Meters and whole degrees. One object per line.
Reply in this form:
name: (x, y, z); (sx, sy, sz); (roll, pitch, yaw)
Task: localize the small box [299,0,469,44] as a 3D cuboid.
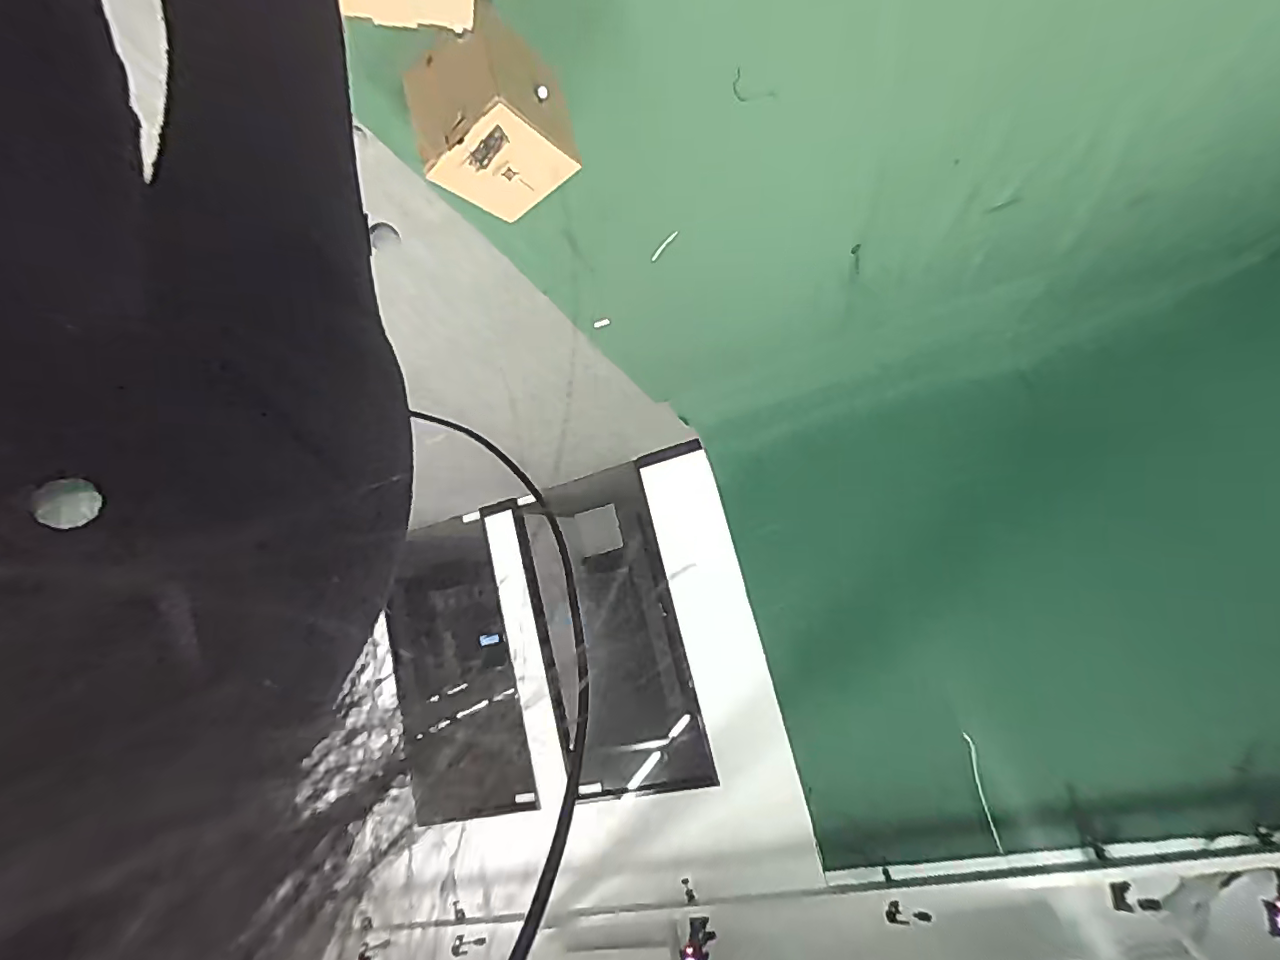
small box: (-0.262, -0.577, 0.519); (0.168, 0.176, 0.179); (-12, 169, -20)

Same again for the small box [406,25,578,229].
small box: (-0.226, -0.529, 0.820); (0.168, 0.176, 0.179); (-20, 169, 30)
